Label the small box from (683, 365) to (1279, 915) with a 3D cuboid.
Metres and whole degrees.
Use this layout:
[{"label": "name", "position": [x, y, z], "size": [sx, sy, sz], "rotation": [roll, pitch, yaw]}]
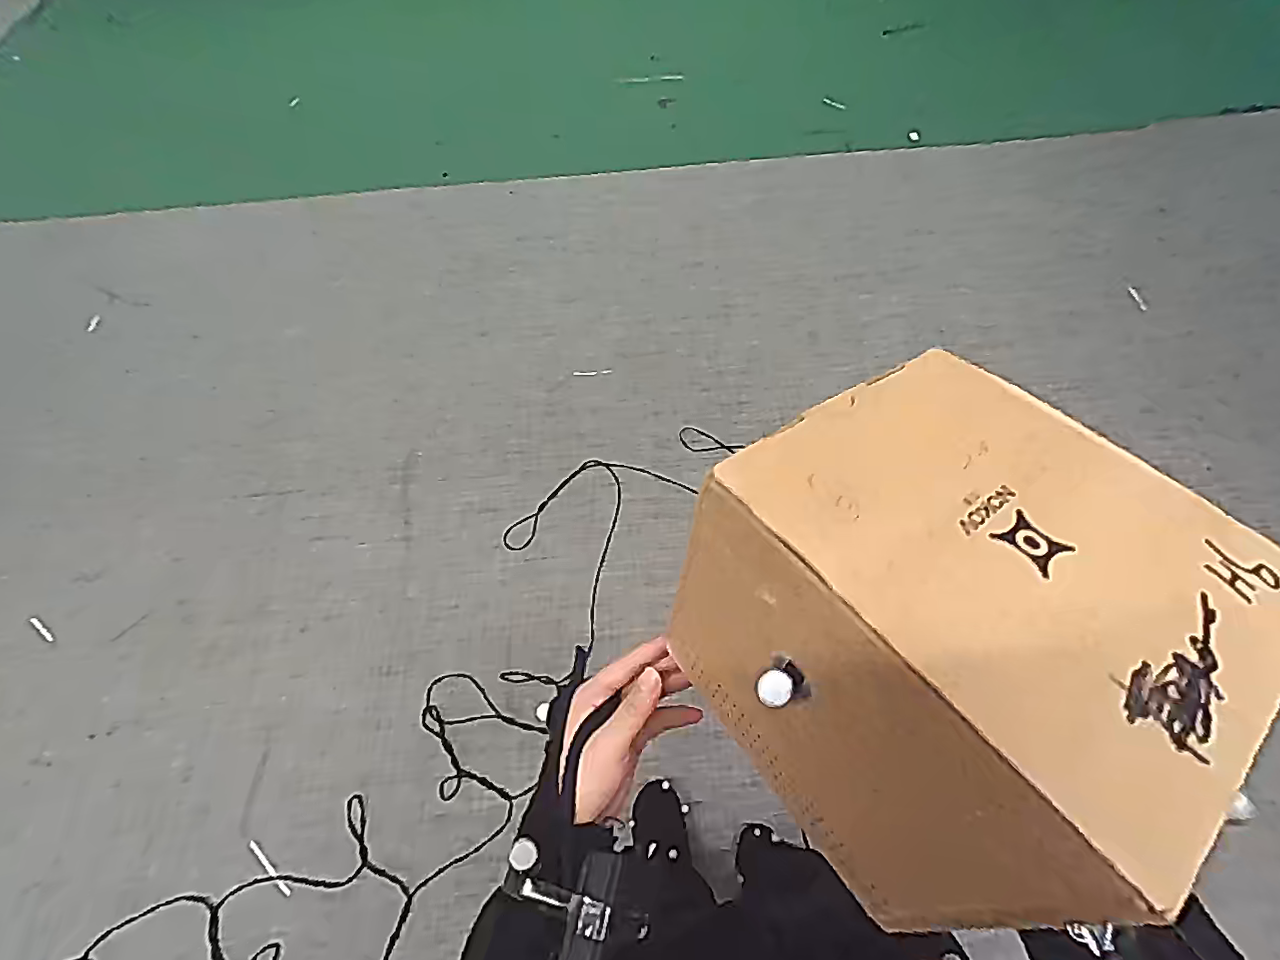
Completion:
[{"label": "small box", "position": [0.140, 0.076, 0.275], "size": [0.168, 0.176, 0.179], "rotation": [-28, 57, -25]}]
